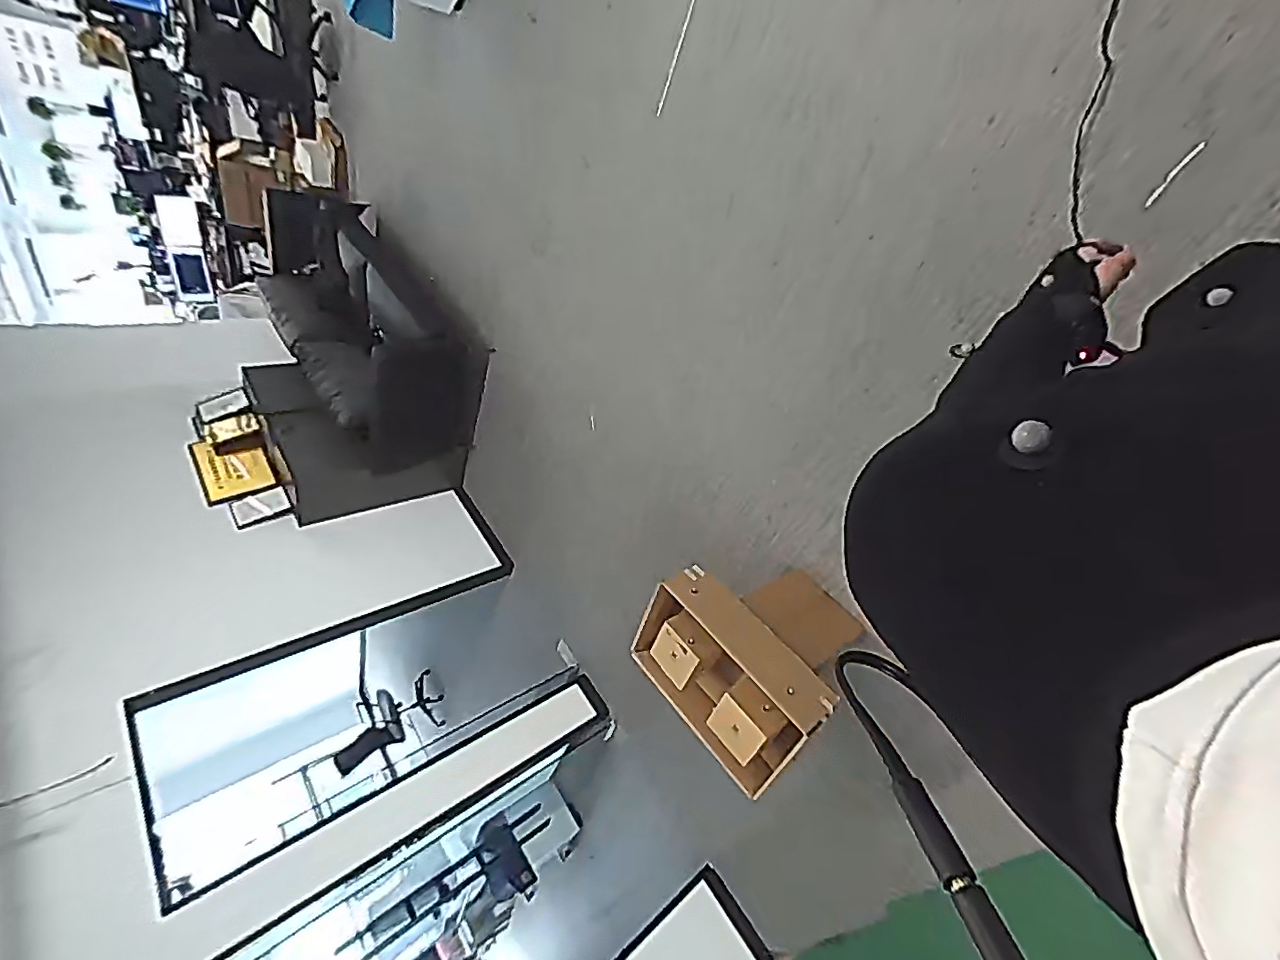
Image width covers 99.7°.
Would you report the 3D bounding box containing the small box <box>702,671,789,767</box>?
[{"bbox_3d":[0.324,0.717,1.639,0.168,0.176,0.179,42,132,30],"label":"small box"}]
